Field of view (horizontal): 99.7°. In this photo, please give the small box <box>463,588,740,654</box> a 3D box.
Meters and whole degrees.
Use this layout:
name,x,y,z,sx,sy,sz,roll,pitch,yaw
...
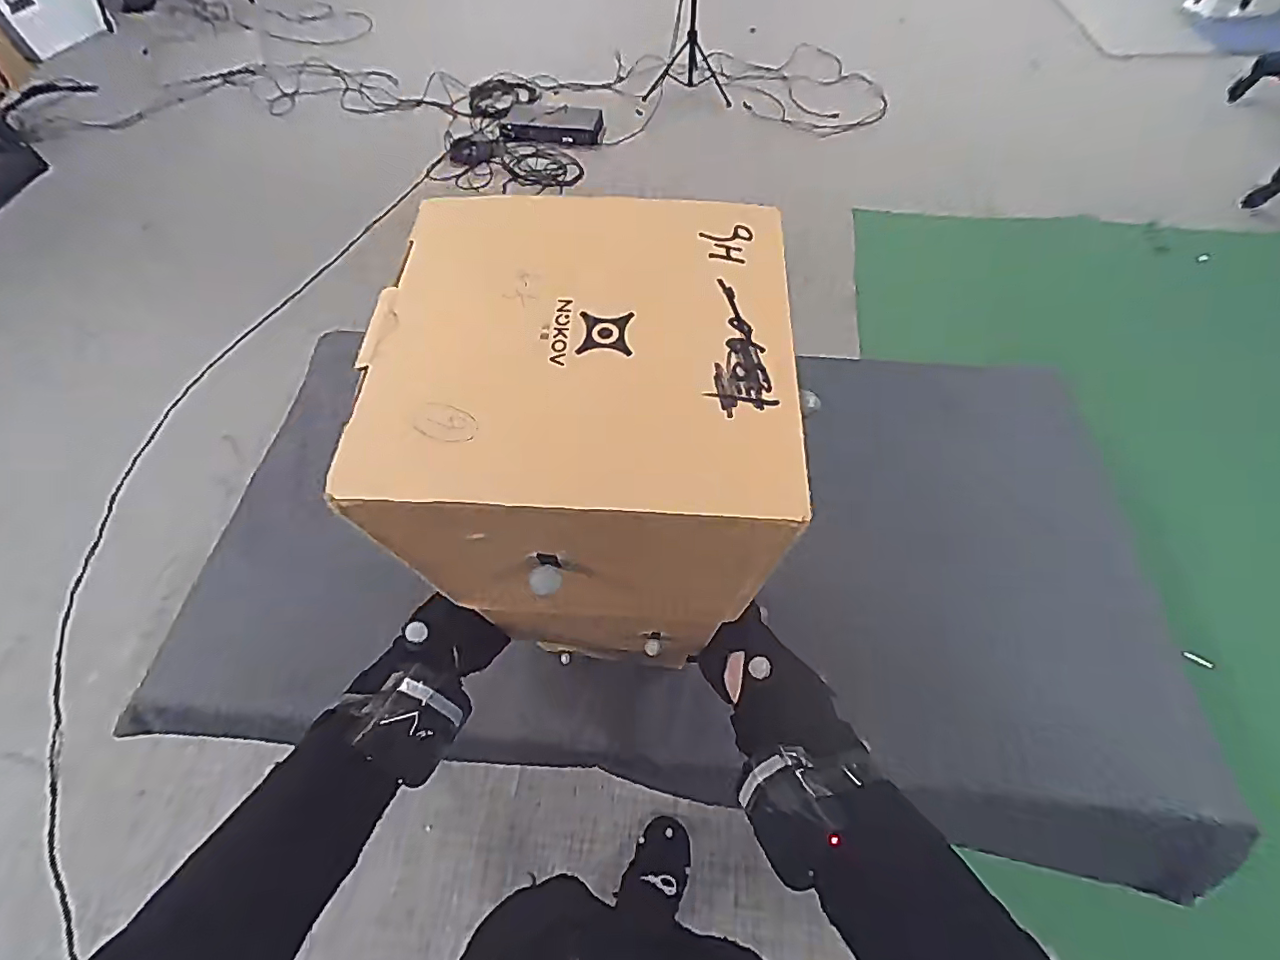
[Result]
name,x,y,z,sx,sy,sz,roll,pitch,yaw
small box,-0.024,0.044,0.442,0.179,0.176,0.168,1,63,0

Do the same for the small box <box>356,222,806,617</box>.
name,x,y,z,sx,sy,sz,roll,pitch,yaw
small box,-0.022,-0.022,0.313,0.179,0.176,0.168,0,61,-1
